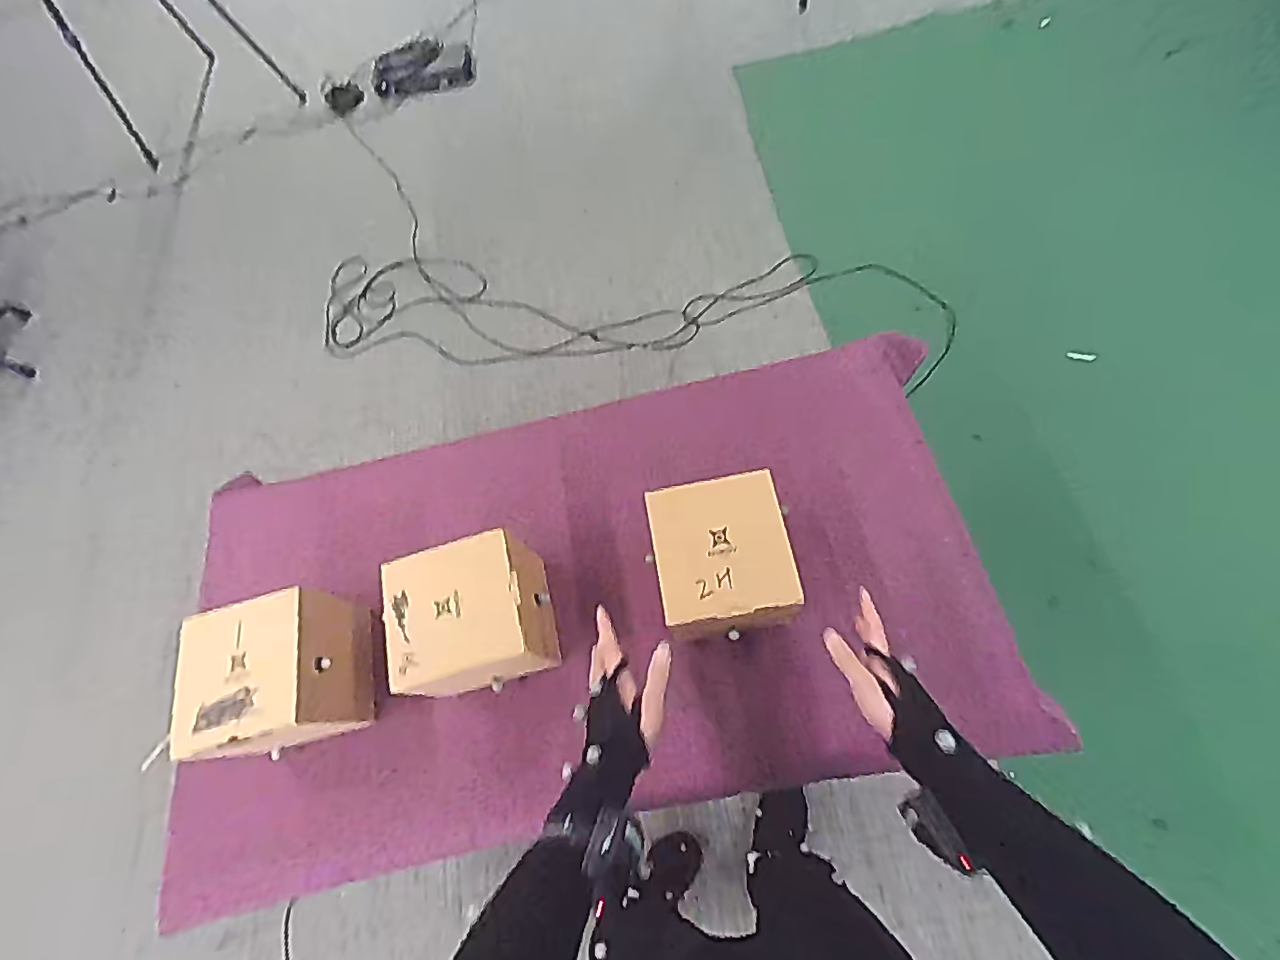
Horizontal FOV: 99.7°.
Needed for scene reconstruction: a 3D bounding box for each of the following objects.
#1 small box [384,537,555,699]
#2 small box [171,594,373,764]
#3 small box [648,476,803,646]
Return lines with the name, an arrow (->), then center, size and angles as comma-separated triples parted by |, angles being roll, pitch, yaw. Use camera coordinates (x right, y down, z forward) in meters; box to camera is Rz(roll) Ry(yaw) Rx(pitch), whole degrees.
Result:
small box -> -0.226, 0.199, 0.754 | 0.179, 0.176, 0.168 | -16, 65, 1
small box -> -0.498, 0.278, 0.758 | 0.168, 0.176, 0.179 | -16, 64, 1
small box -> 0.110, 0.118, 0.739 | 0.168, 0.176, 0.179 | -11, 66, 4
